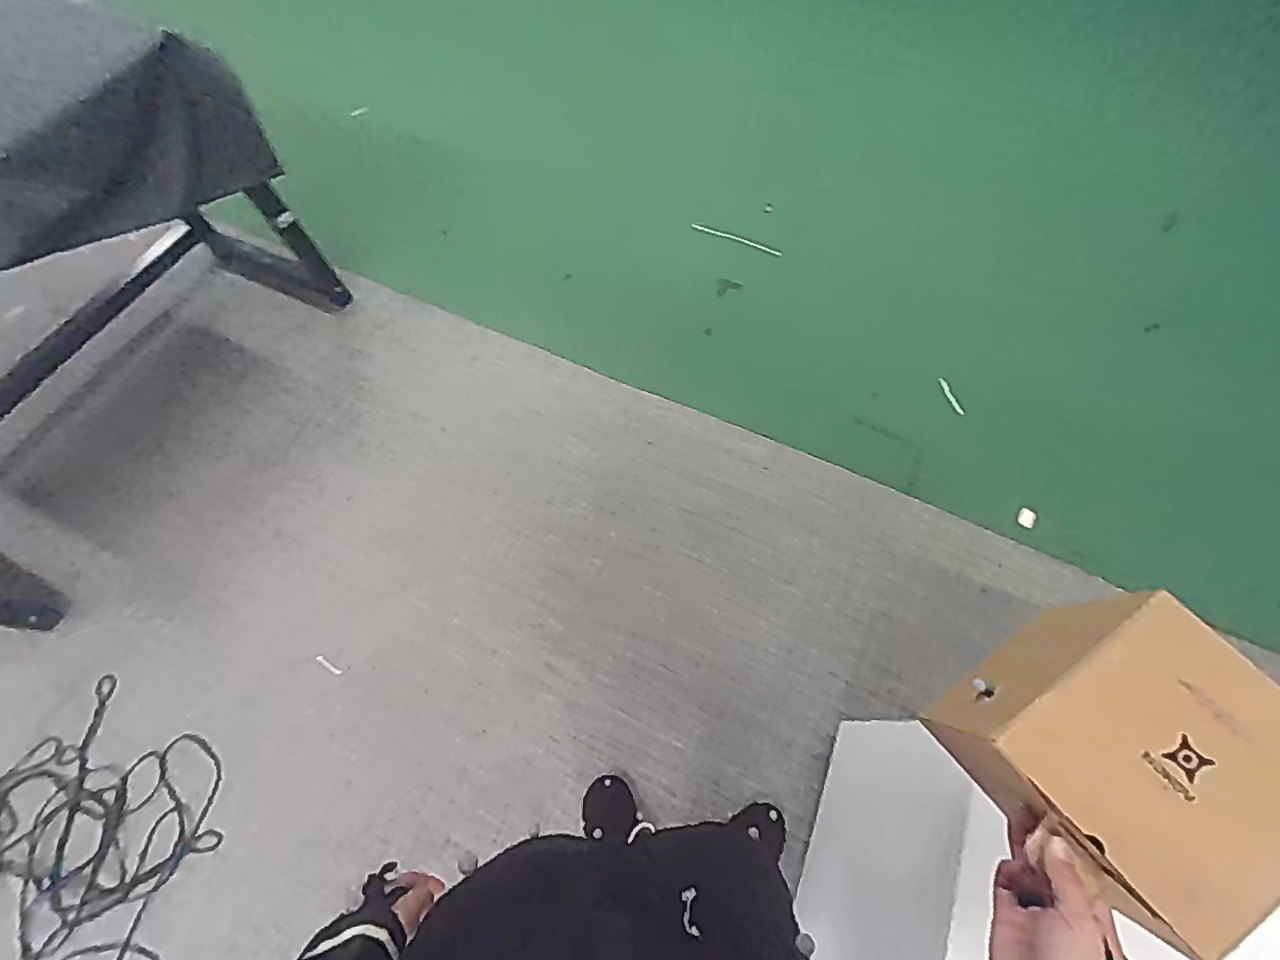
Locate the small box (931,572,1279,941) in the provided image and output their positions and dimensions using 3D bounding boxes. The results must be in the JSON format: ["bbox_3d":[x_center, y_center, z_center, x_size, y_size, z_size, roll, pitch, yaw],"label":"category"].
[{"bbox_3d":[0.375,0.204,0.445,0.179,0.176,0.168,-40,71,-5],"label":"small box"}]
